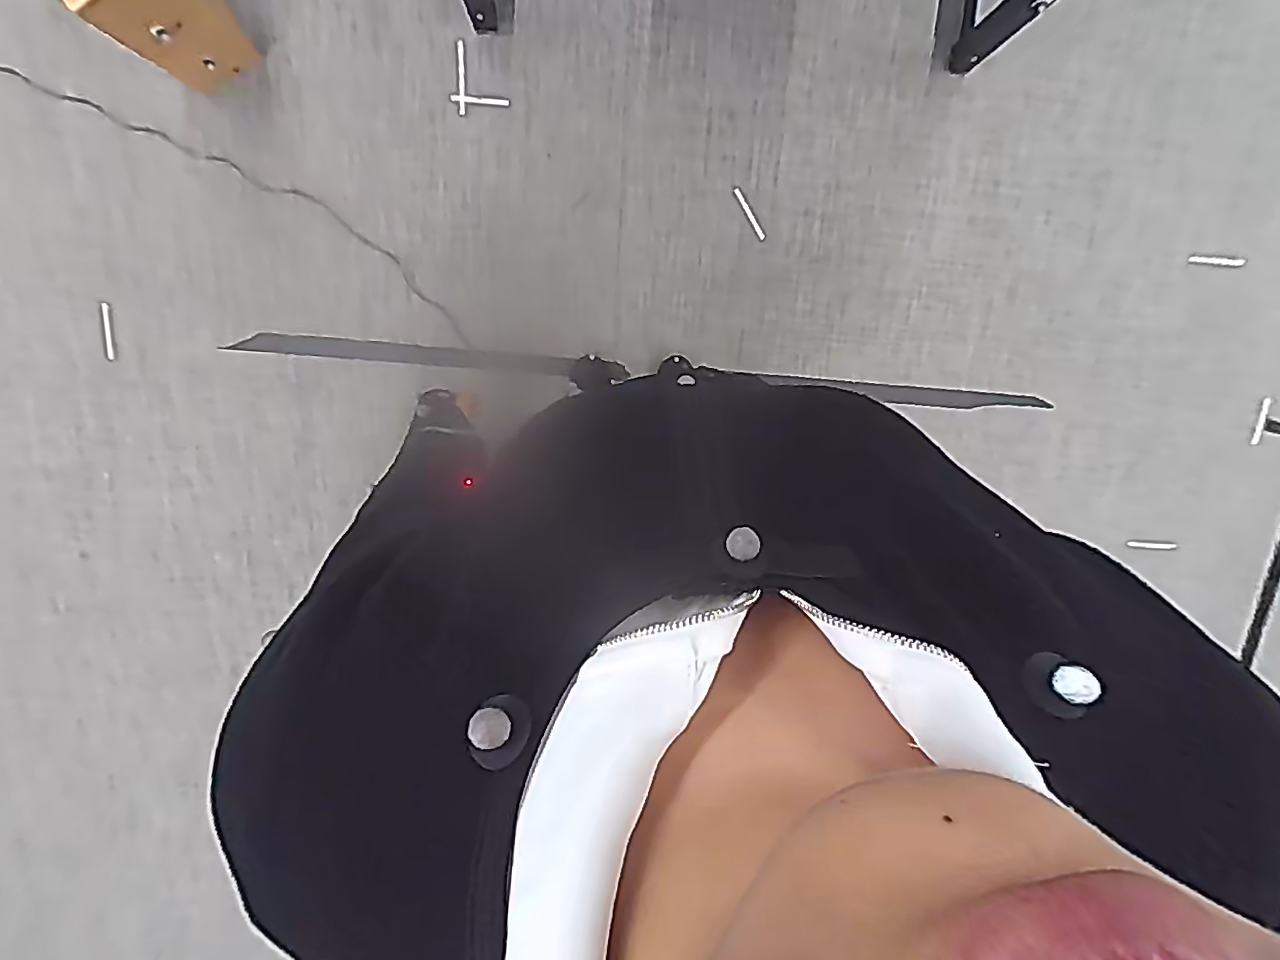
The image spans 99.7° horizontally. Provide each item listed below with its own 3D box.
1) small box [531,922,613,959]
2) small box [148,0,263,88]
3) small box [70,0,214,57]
[{"bbox_3d":[-0.149,1.112,1.175,0.179,0.176,0.168,-5,99,-1],"label":"small box"},{"bbox_3d":[-0.965,-0.984,1.154,0.168,0.176,0.179,-29,102,2],"label":"small box"},{"bbox_3d":[-0.959,-0.946,0.995,0.168,0.176,0.179,-33,103,6],"label":"small box"}]
